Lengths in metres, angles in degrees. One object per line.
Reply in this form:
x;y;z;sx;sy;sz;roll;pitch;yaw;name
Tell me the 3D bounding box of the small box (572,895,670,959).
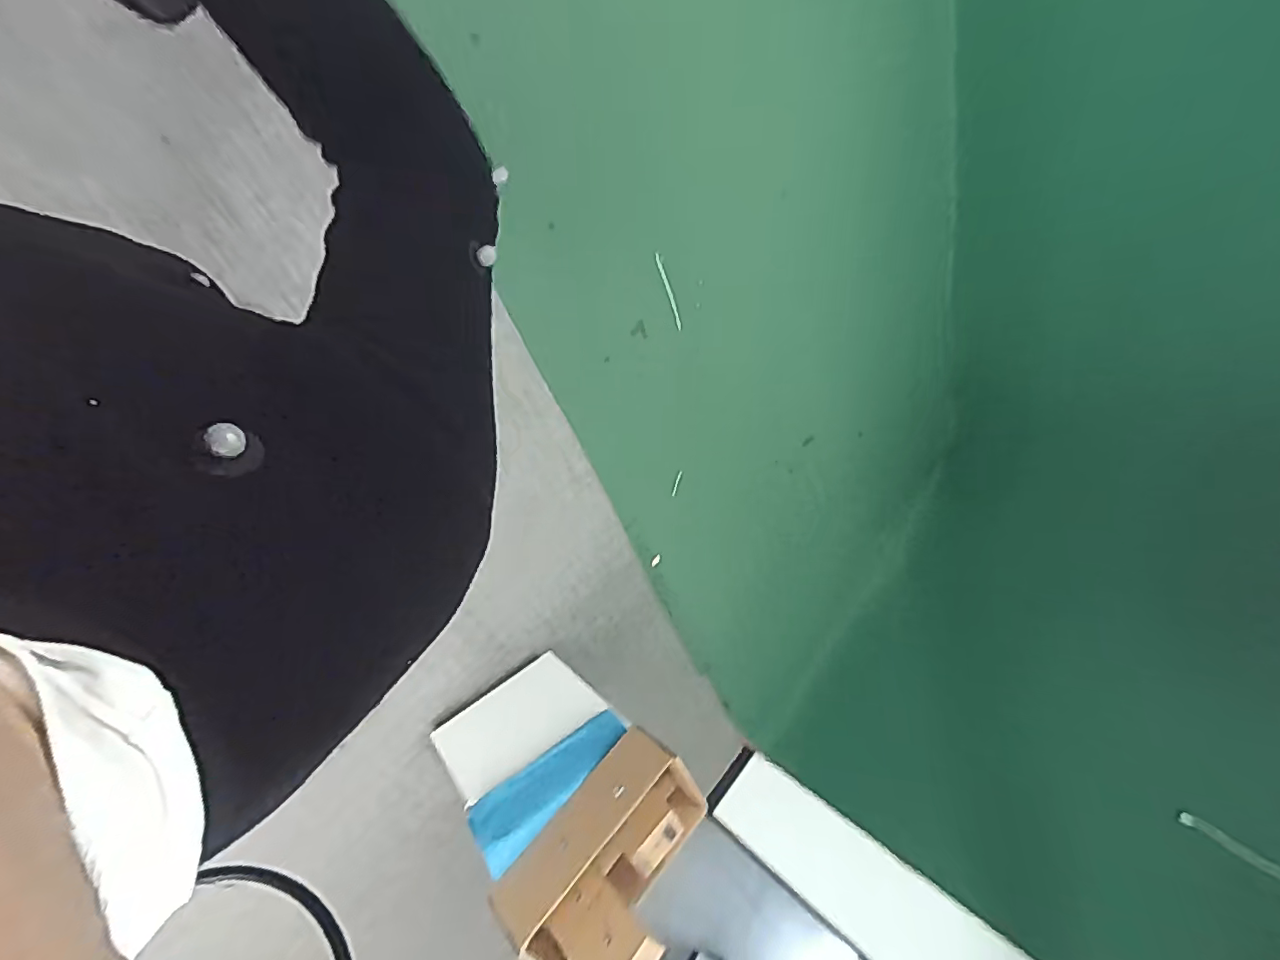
-0.056;1.249;1.413;0.179;0.176;0.168;-43;131;-25;small box
